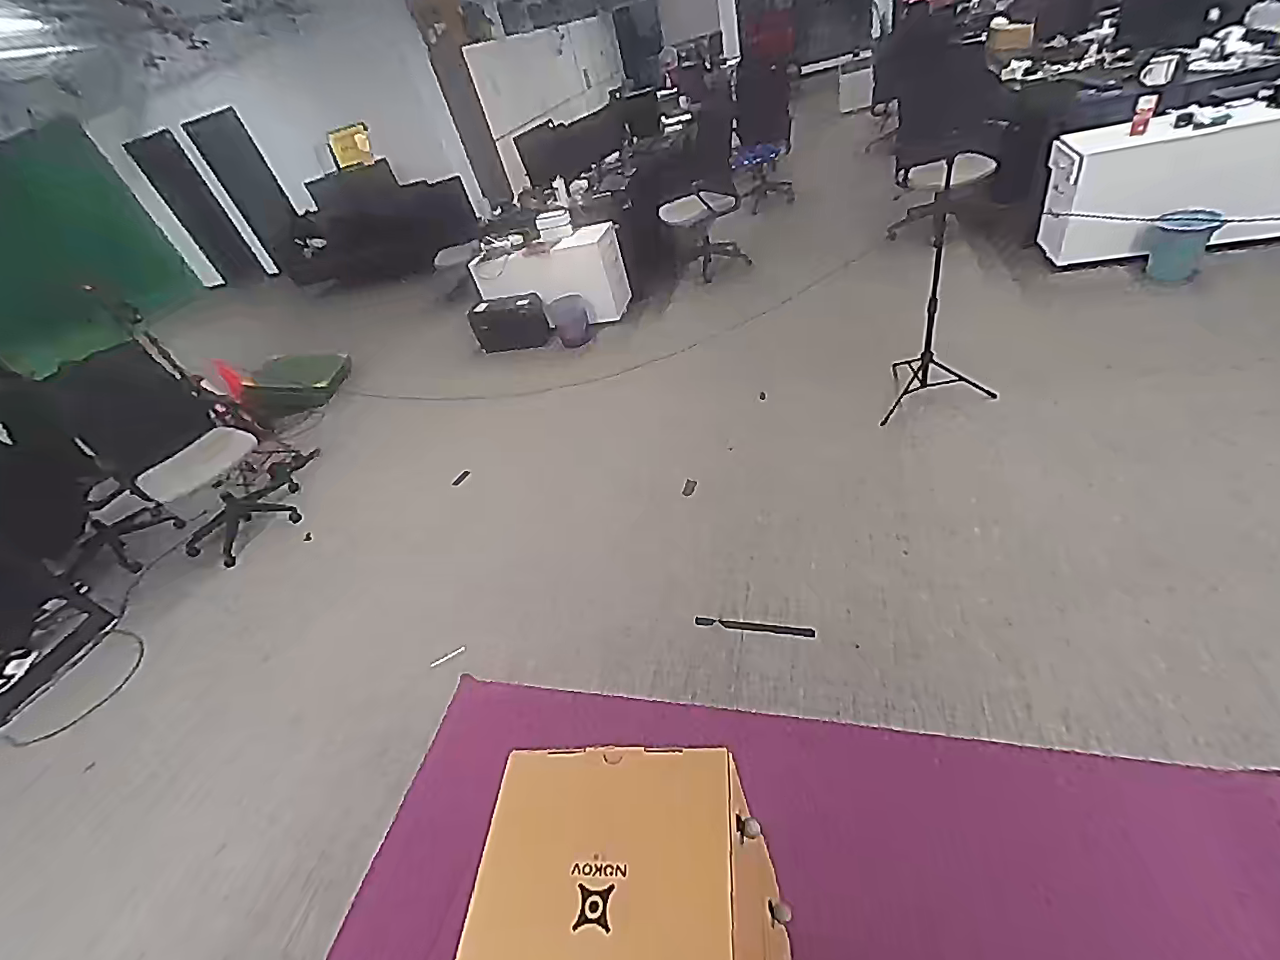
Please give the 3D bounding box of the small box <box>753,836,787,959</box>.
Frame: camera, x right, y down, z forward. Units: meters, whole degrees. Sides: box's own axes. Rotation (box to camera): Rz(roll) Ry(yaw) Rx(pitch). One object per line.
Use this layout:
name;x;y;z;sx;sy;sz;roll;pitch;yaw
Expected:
small box;0.038;0.431;0.470;0.168;0.176;0.179;-6;39;16

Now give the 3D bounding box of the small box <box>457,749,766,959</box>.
small box;-0.004;0.310;0.369;0.168;0.176;0.179;-8;38;13
